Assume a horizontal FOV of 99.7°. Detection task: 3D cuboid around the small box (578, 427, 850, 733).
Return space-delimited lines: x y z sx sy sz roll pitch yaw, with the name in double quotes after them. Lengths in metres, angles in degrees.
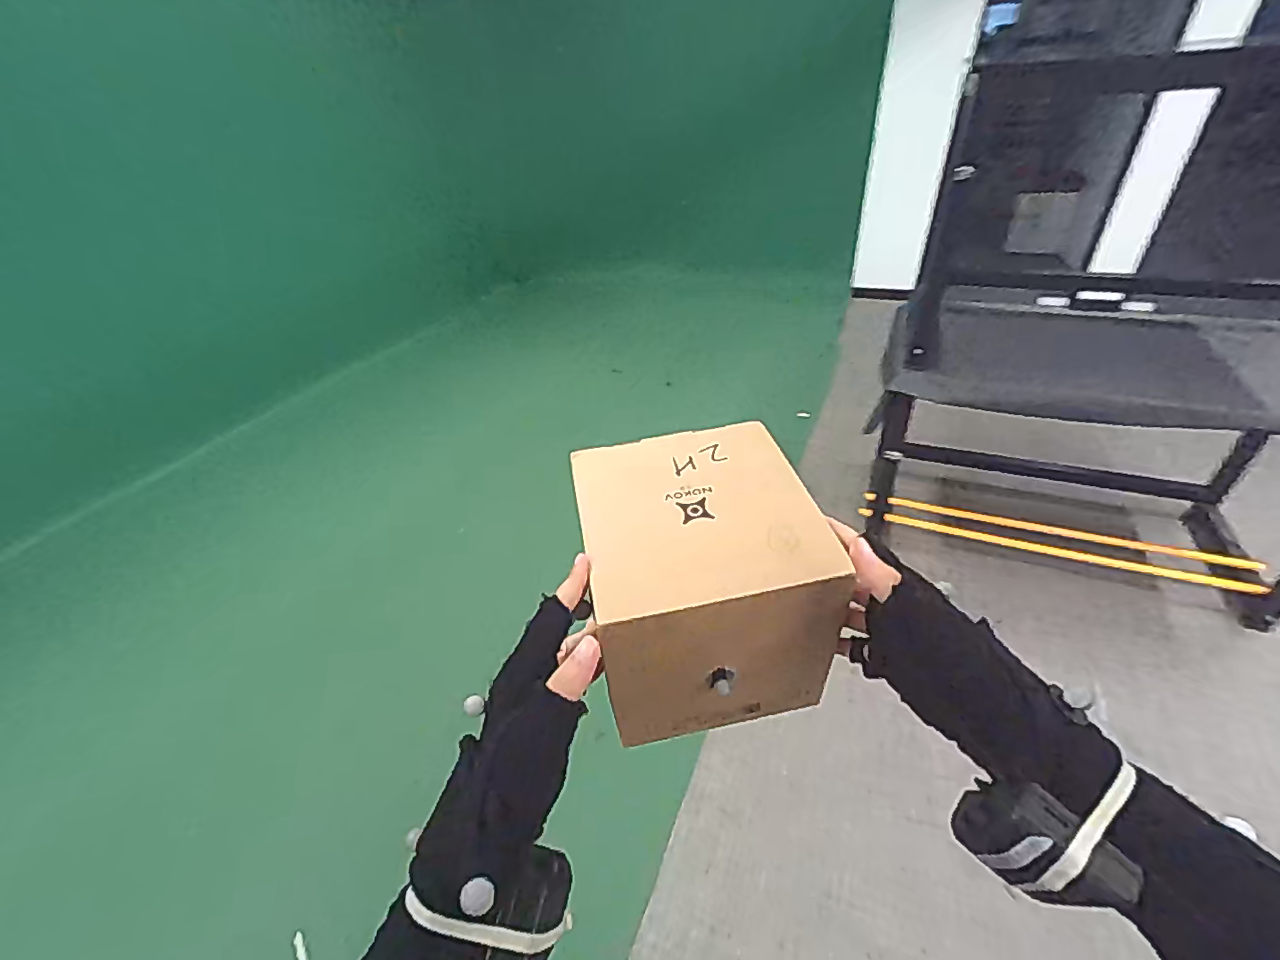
0.047 0.083 0.442 0.168 0.176 0.179 -9 39 -5 "small box"
